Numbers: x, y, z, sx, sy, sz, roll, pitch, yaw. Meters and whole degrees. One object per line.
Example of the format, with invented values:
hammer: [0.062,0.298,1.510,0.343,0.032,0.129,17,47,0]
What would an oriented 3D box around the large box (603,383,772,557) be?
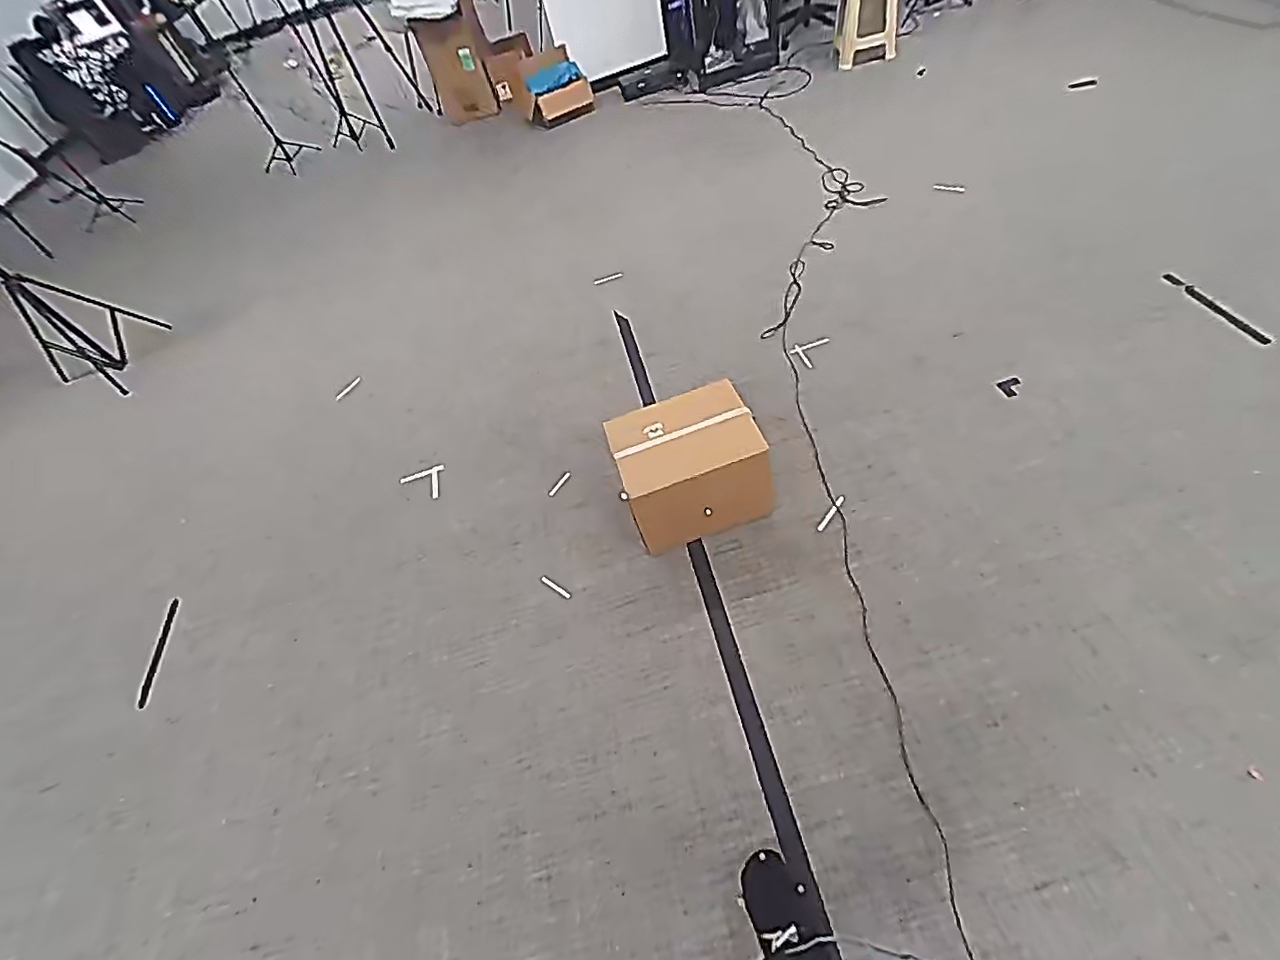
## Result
large box: [0.149,-0.024,1.636,0.408,0.320,0.320,-21,50,1]
